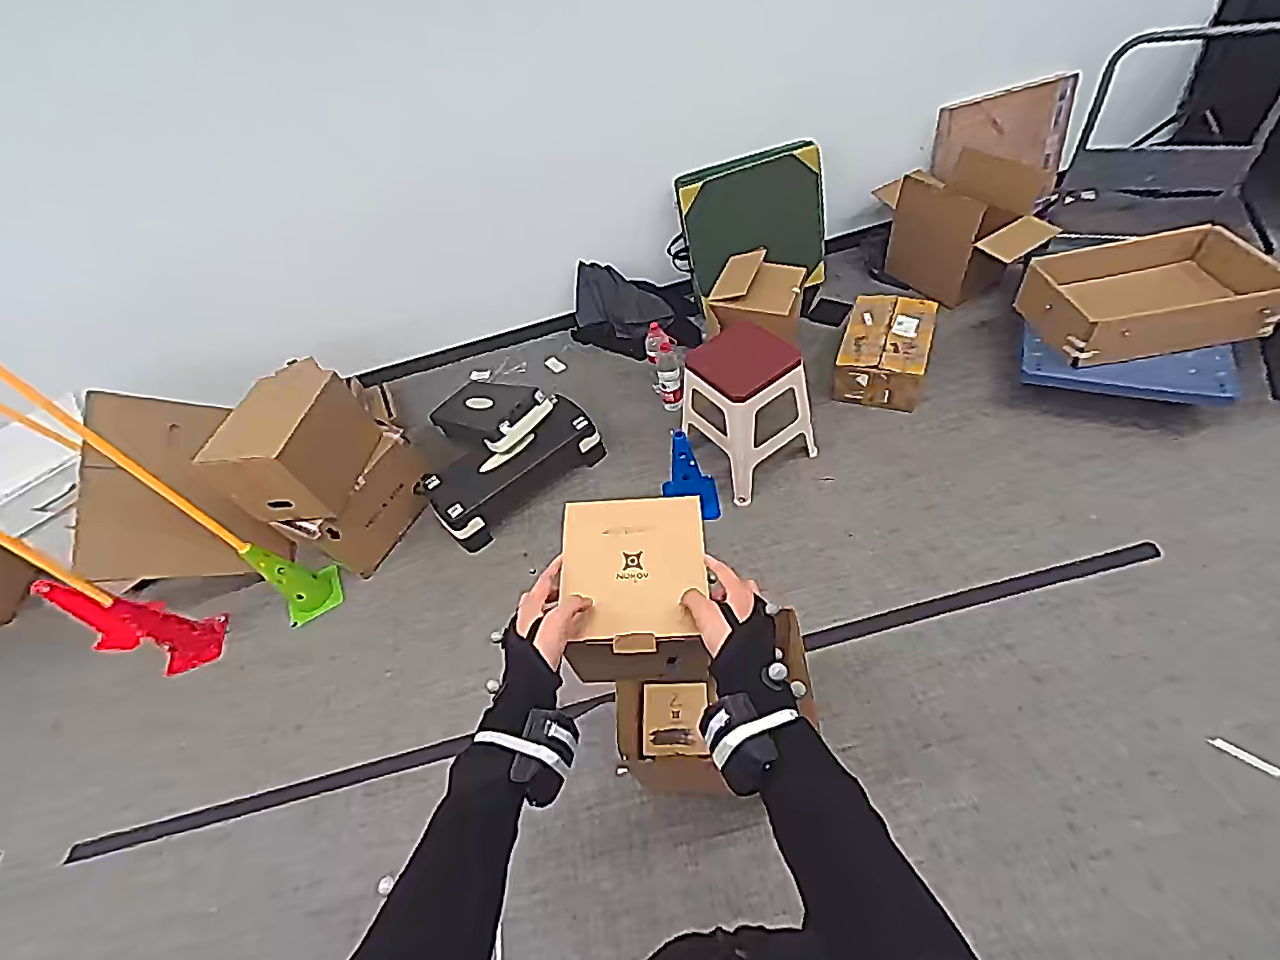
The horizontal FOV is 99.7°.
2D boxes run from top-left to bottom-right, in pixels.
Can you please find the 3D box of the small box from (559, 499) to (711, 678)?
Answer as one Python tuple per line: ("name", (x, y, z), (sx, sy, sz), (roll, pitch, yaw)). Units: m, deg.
("small box", (0.001, 0.143, 0.678), (0.168, 0.176, 0.179), (-3, 55, 3))
